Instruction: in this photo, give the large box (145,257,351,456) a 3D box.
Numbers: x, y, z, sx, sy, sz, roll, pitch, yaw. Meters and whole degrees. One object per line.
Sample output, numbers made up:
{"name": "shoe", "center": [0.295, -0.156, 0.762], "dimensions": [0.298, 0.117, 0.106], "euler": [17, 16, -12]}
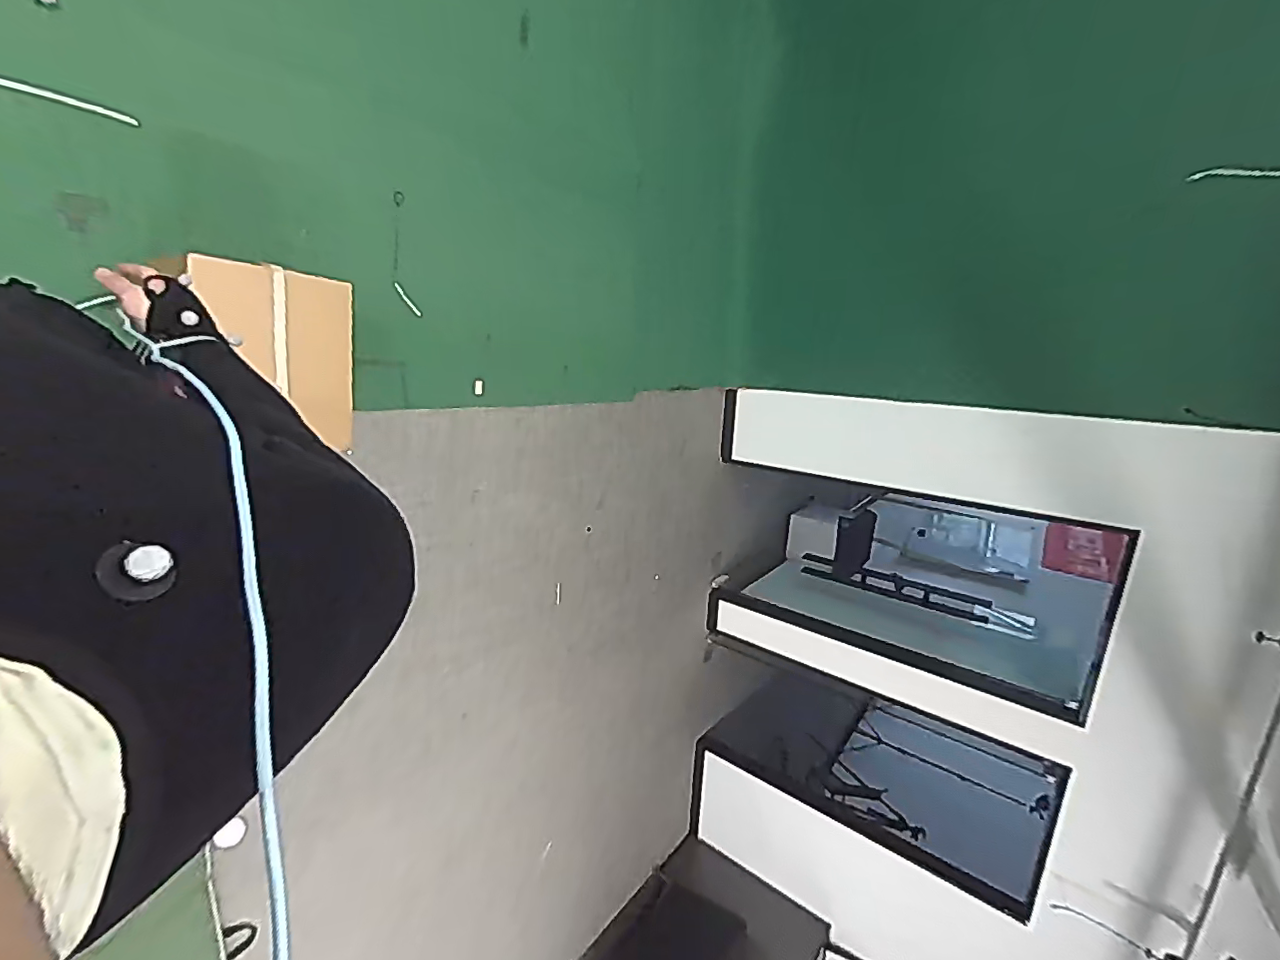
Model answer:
{"name": "large box", "center": [-0.924, -0.288, 1.290], "dimensions": [0.320, 0.320, 0.408], "euler": [-9, 108, -52]}
